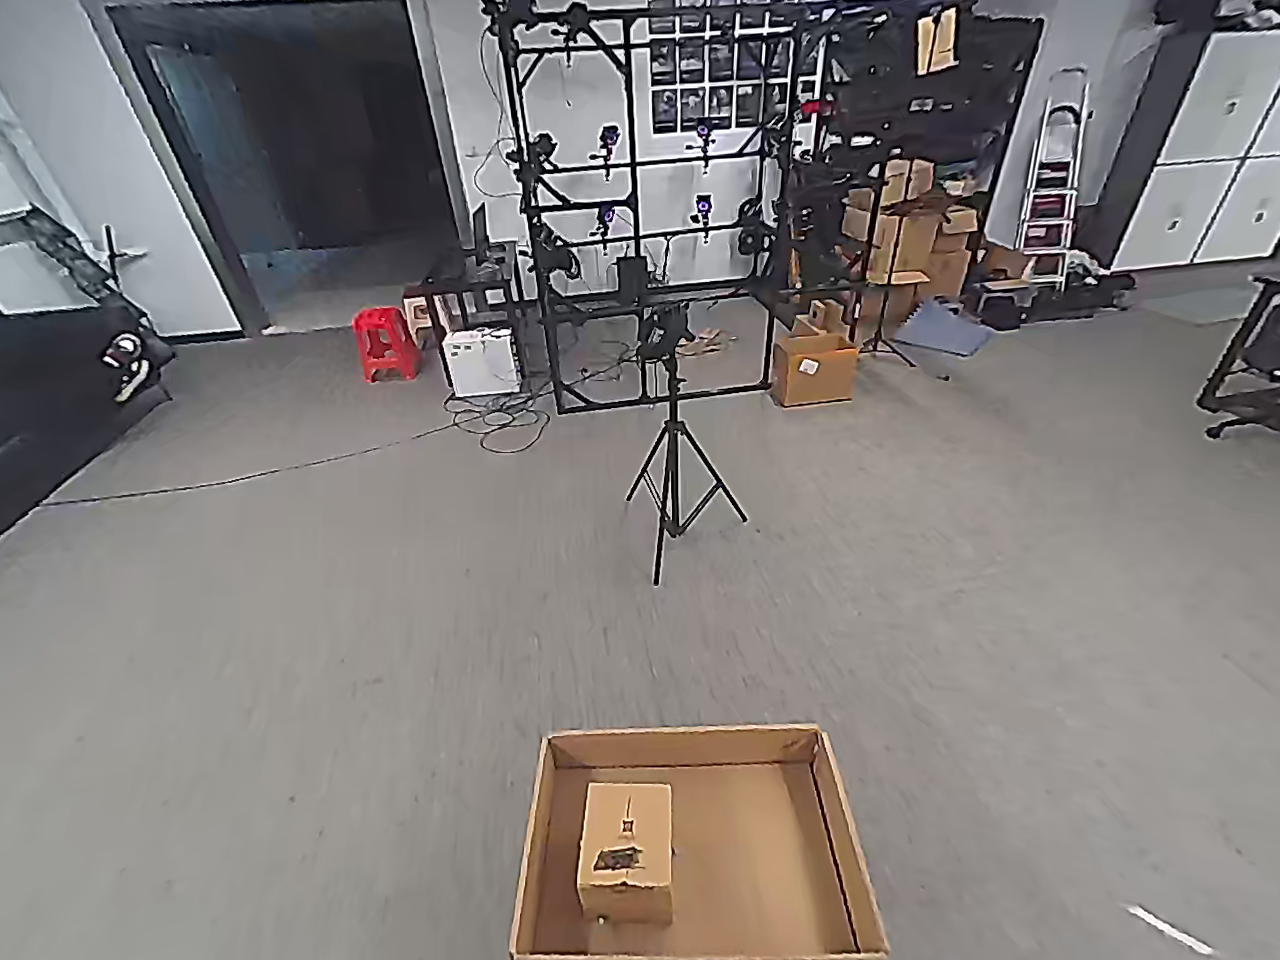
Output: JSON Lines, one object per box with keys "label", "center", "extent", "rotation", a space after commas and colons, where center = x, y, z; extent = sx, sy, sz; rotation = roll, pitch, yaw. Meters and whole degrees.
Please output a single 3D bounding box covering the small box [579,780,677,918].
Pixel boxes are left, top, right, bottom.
{"label": "small box", "center": [-0.014, 0.708, 1.038], "extent": [0.168, 0.176, 0.179], "rotation": [-1, 34, 4]}
